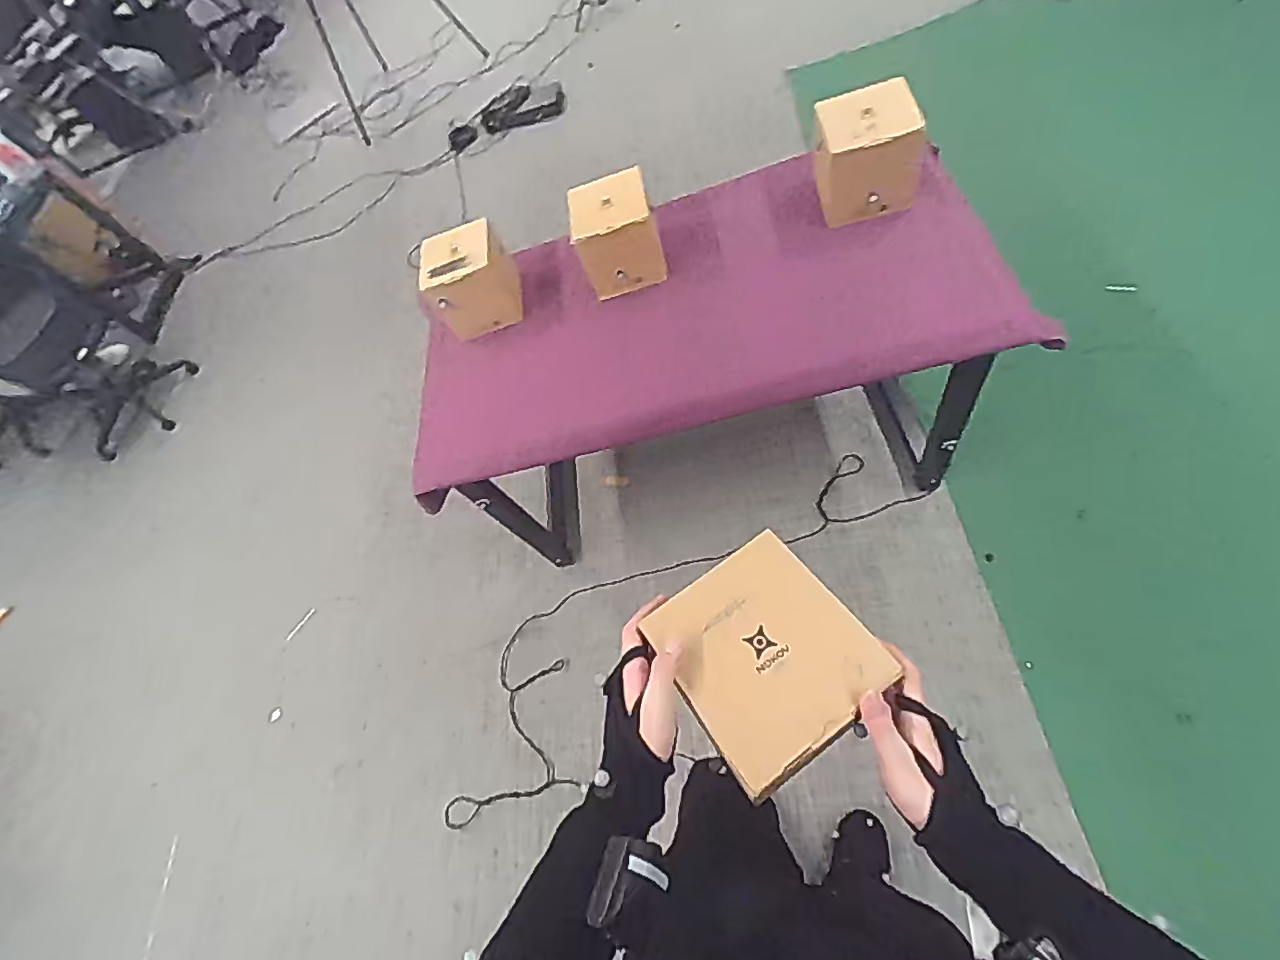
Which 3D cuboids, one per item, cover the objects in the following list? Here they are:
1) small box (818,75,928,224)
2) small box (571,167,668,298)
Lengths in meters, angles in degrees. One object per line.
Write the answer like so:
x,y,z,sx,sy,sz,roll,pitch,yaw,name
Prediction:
0.453,-0.651,1.078,0.168,0.176,0.179,-9,62,15,small box
-0.044,-0.538,1.188,0.168,0.176,0.179,-14,61,11,small box
